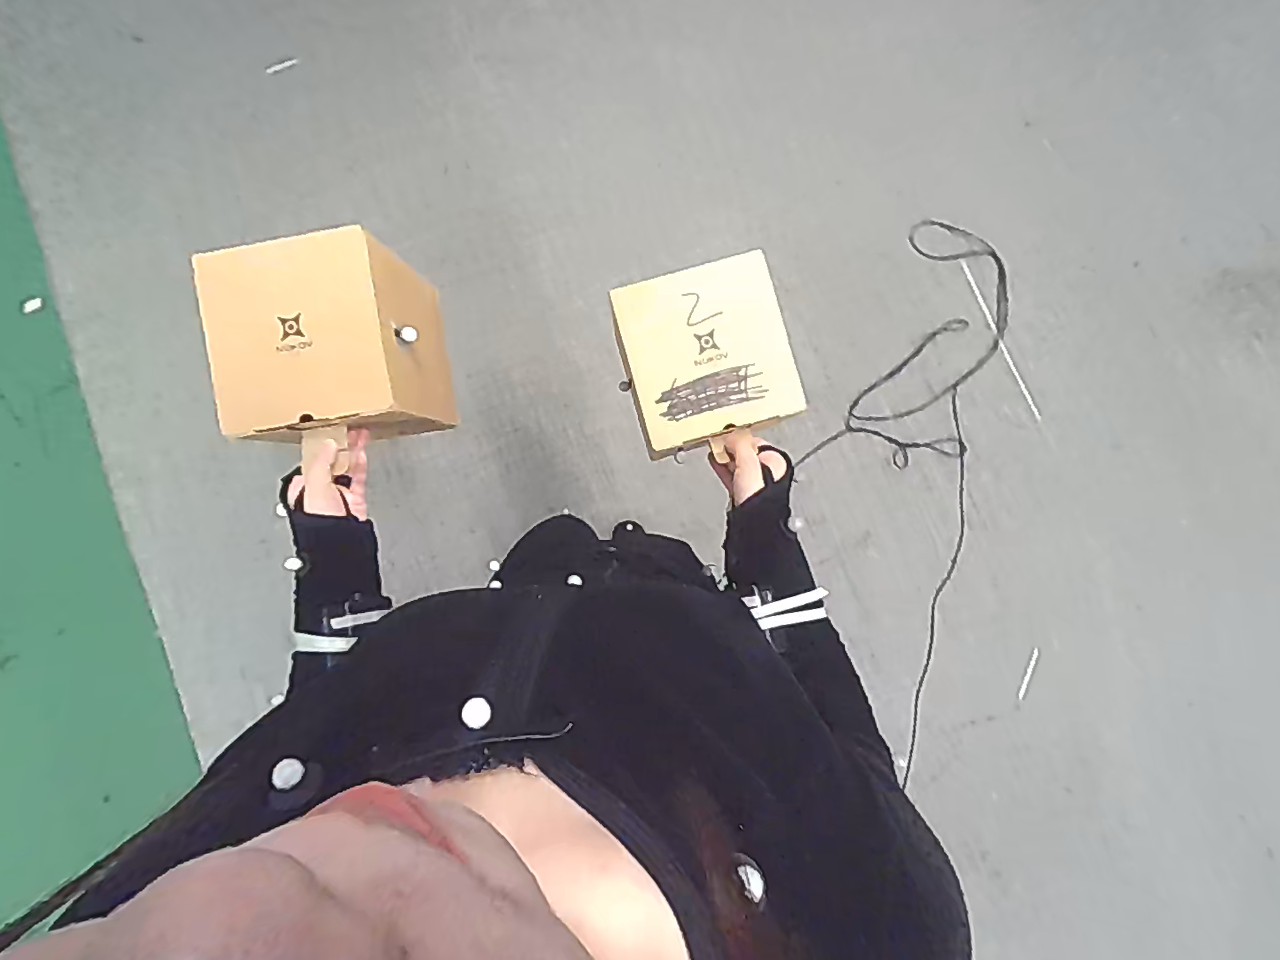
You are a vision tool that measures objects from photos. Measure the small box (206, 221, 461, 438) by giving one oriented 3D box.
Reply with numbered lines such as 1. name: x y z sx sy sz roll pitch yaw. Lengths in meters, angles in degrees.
1. small box: -0.309 -0.145 0.579 0.168 0.176 0.179 -8 92 2
